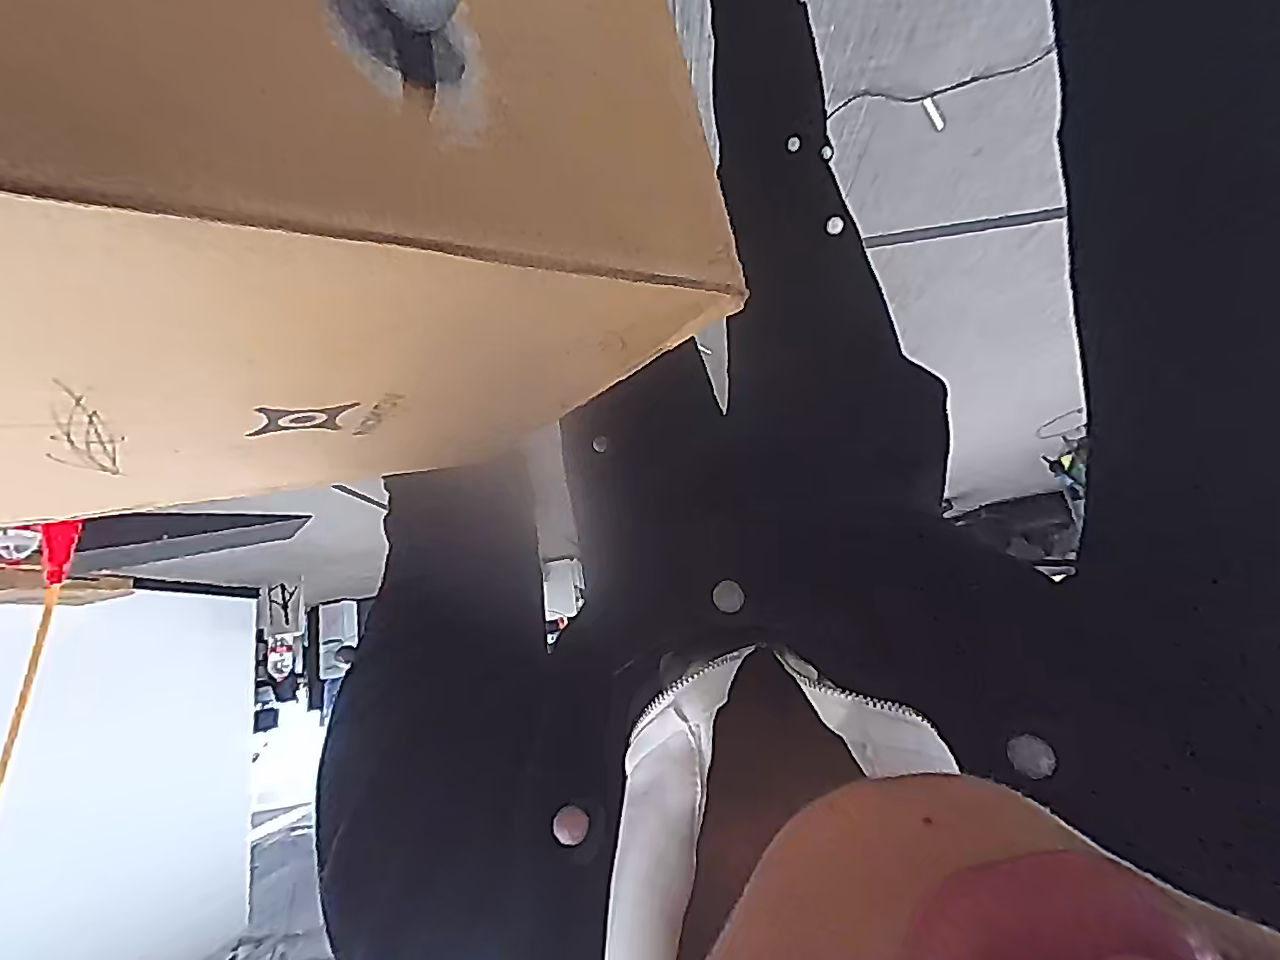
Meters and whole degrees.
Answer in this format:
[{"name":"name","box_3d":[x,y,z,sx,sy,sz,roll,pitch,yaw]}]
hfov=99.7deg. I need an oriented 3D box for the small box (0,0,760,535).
[{"name":"small box","box_3d":[-0.101,-0.093,0.143,0.179,0.176,0.168,-10,173,-42]}]
